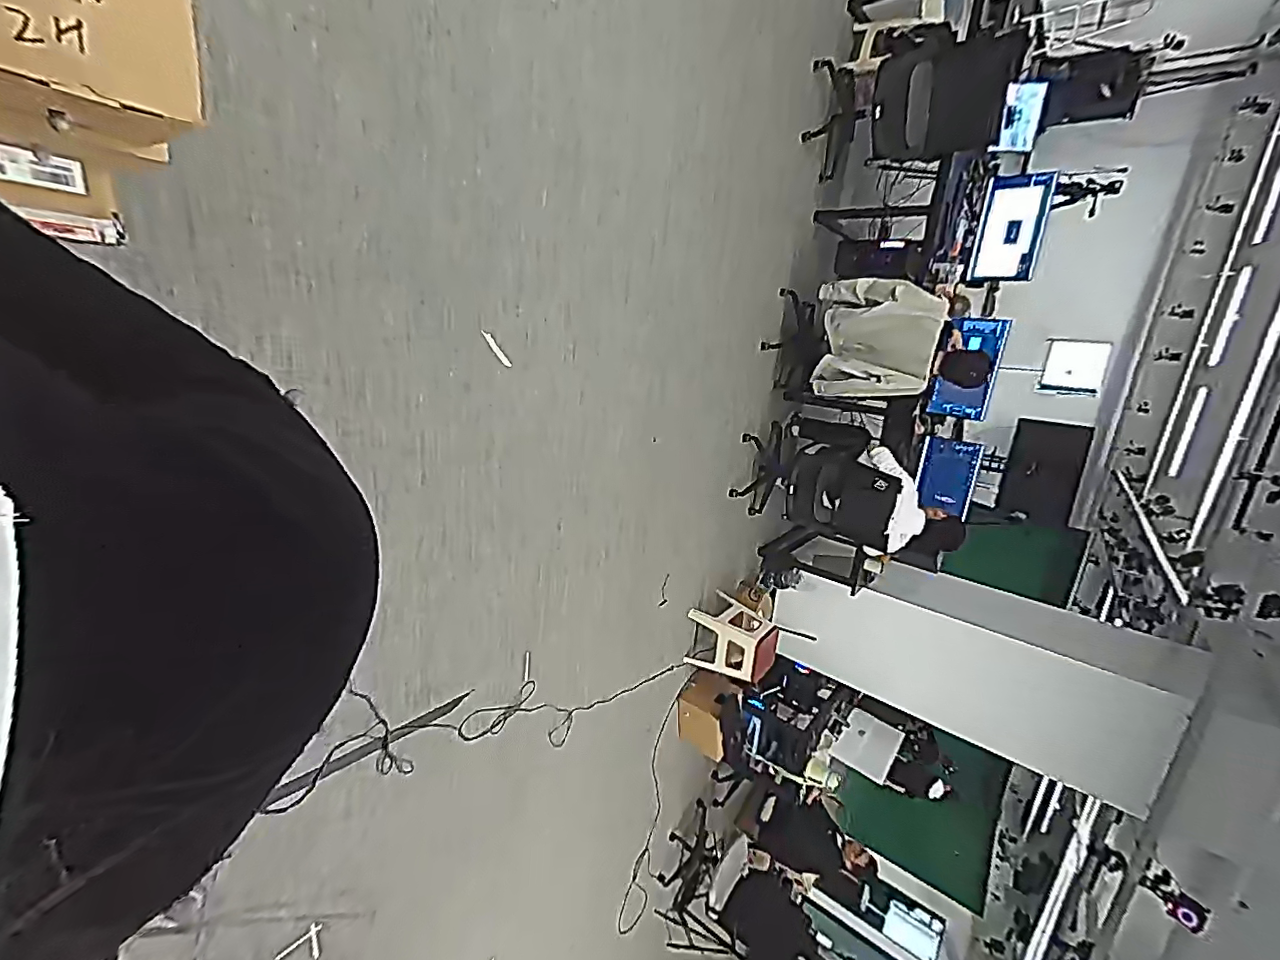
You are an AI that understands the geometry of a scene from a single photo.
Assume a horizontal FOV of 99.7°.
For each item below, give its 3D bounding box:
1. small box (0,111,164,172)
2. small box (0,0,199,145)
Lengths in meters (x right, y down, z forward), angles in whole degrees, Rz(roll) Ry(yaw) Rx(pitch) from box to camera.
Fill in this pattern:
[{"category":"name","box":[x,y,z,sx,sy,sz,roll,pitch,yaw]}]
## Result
[{"category":"small box","box":[-0.655,-0.458,0.588,0.168,0.176,0.179,-11,114,-54]},{"category":"small box","box":[-0.531,-0.427,0.482,0.168,0.176,0.179,-15,116,-52]}]
